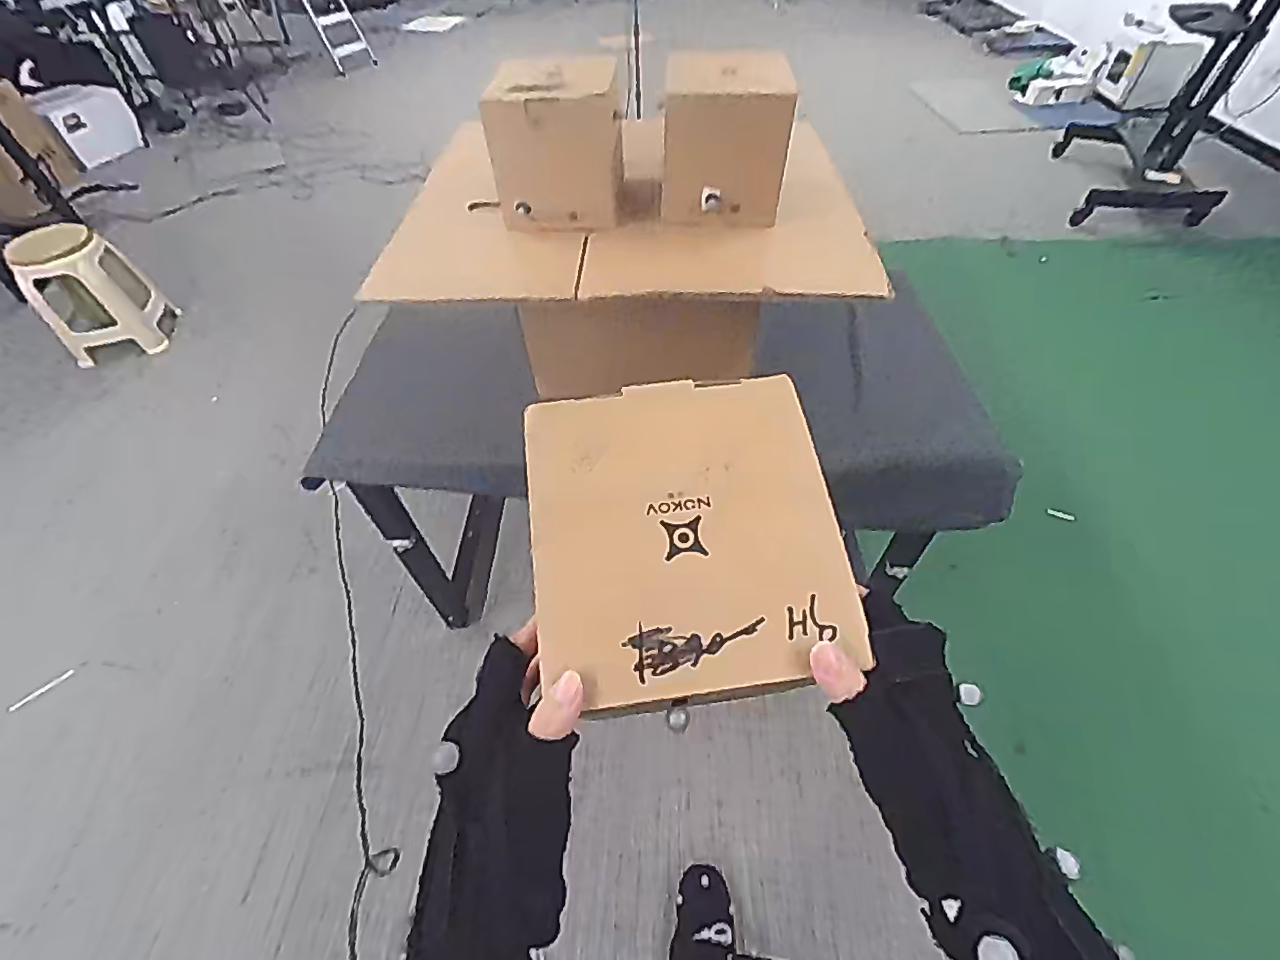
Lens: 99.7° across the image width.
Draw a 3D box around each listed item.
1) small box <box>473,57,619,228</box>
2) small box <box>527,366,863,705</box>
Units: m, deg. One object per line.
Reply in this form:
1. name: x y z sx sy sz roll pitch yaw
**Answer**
1. small box: -0.121 -0.485 0.788 0.168 0.176 0.179 1 51 4
2. small box: 0.021 0.049 0.374 0.168 0.176 0.179 -8 65 -2
